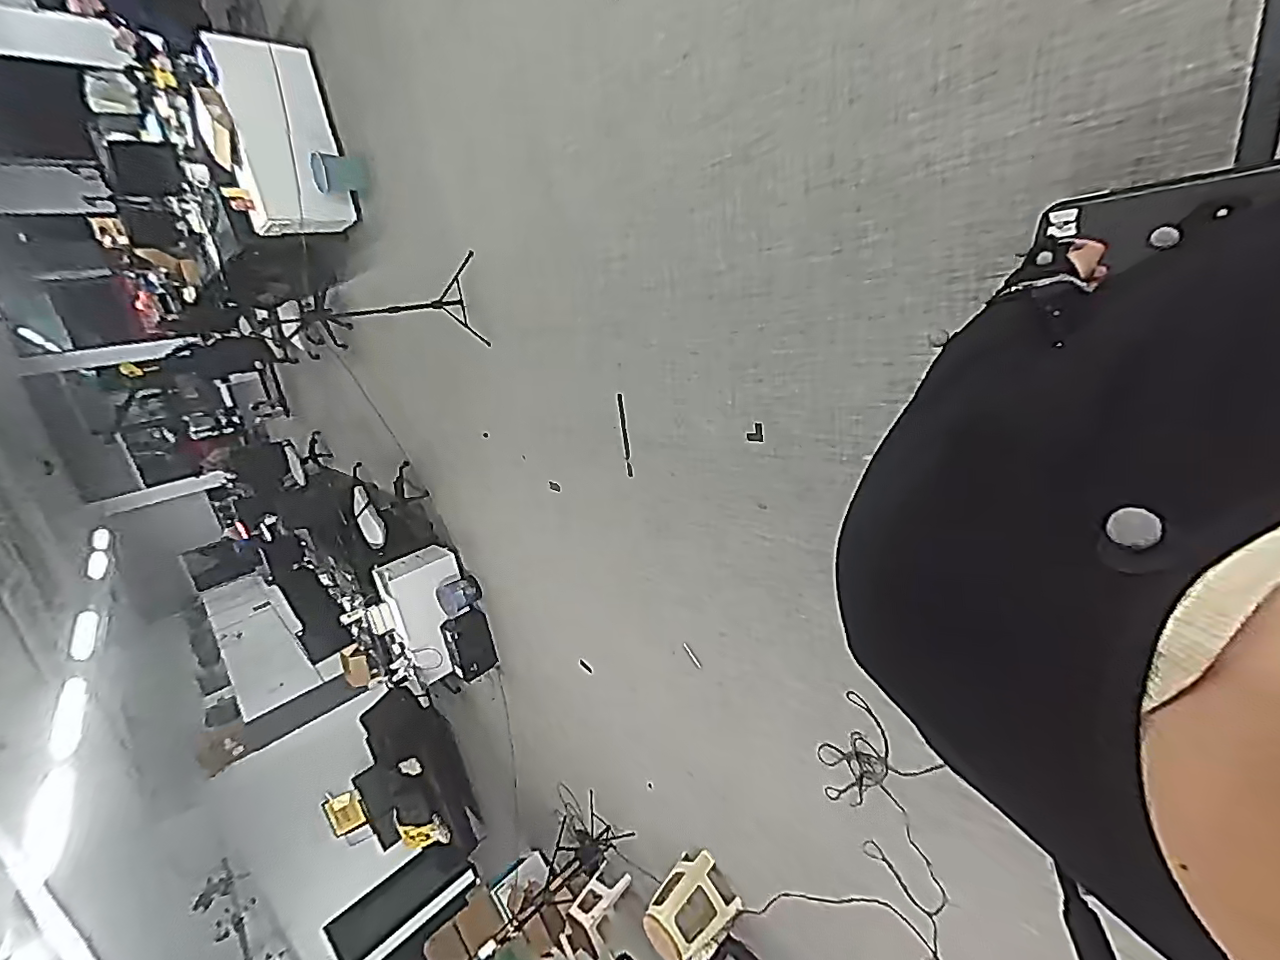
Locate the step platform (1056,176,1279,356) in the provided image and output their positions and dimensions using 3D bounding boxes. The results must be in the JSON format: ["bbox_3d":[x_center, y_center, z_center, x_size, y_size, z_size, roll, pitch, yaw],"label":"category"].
[{"bbox_3d":[1.125,-0.360,0.901,0.684,0.204,0.286,16,119,43],"label":"step platform"}]
